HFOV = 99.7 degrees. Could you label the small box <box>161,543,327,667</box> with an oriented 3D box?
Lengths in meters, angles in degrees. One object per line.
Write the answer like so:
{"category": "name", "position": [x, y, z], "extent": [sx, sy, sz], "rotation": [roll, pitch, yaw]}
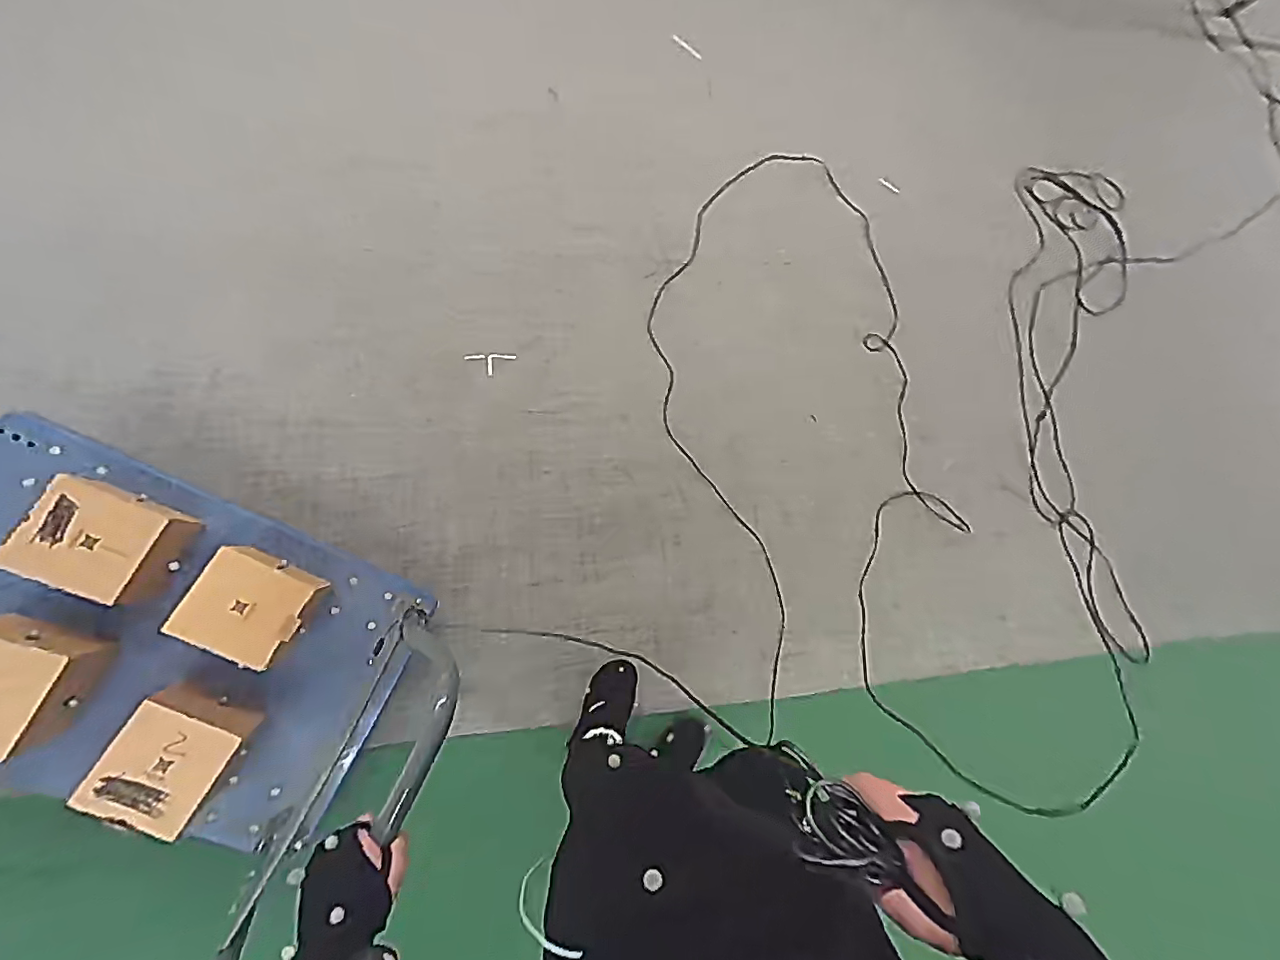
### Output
{"category": "small box", "position": [-0.737, 0.234, 1.032], "extent": [0.179, 0.176, 0.168], "rotation": [31, 72, -16]}

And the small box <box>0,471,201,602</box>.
{"category": "small box", "position": [-0.947, 0.104, 0.963], "extent": [0.179, 0.176, 0.168], "rotation": [29, 73, -17]}

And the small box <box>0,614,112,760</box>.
{"category": "small box", "position": [-1.045, 0.329, 0.890], "extent": [0.179, 0.176, 0.168], "rotation": [26, 73, -16]}
